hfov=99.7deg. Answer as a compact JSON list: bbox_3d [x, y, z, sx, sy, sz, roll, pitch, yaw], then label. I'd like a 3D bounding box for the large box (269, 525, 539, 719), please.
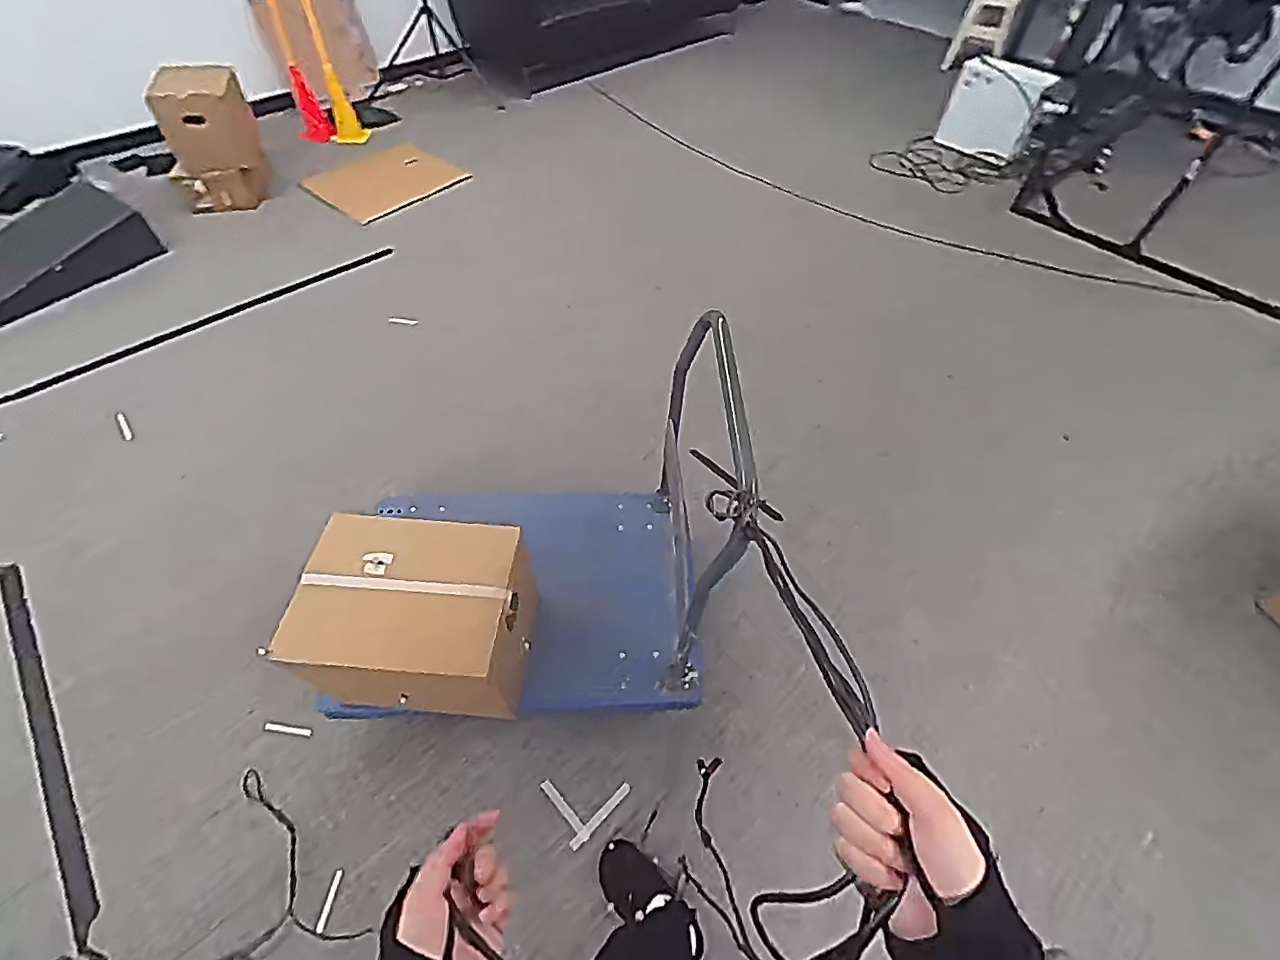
[{"bbox_3d":[-0.452,0.311,1.159,0.408,0.320,0.320,3,53,2],"label":"large box"}]
